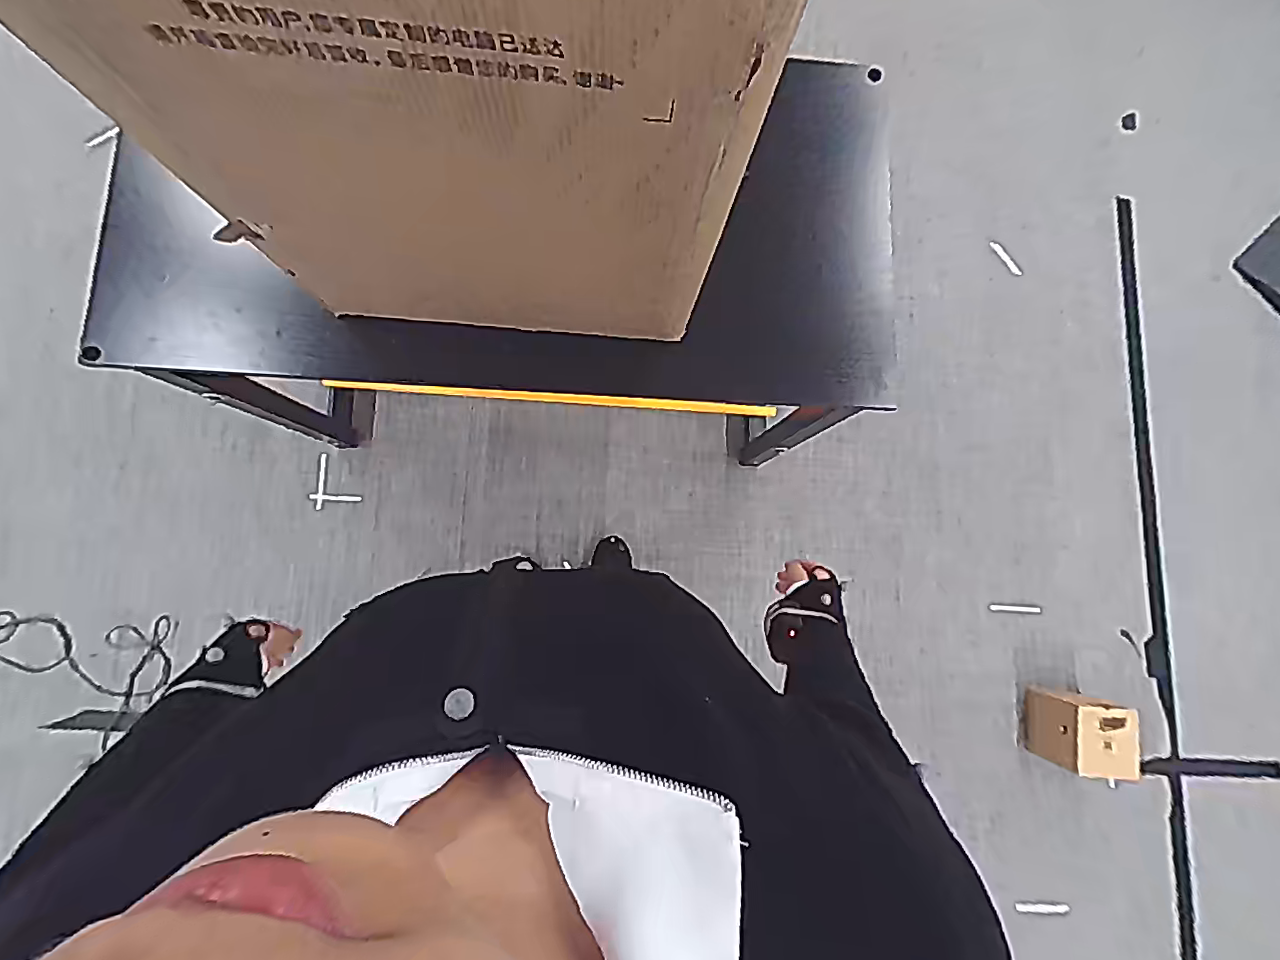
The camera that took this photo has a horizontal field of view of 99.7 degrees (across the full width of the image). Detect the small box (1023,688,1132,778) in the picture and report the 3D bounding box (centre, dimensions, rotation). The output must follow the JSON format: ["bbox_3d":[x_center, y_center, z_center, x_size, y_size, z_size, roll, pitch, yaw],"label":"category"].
[{"bbox_3d":[1.179,0.677,1.467,0.168,0.176,0.179,6,84,-3],"label":"small box"}]
